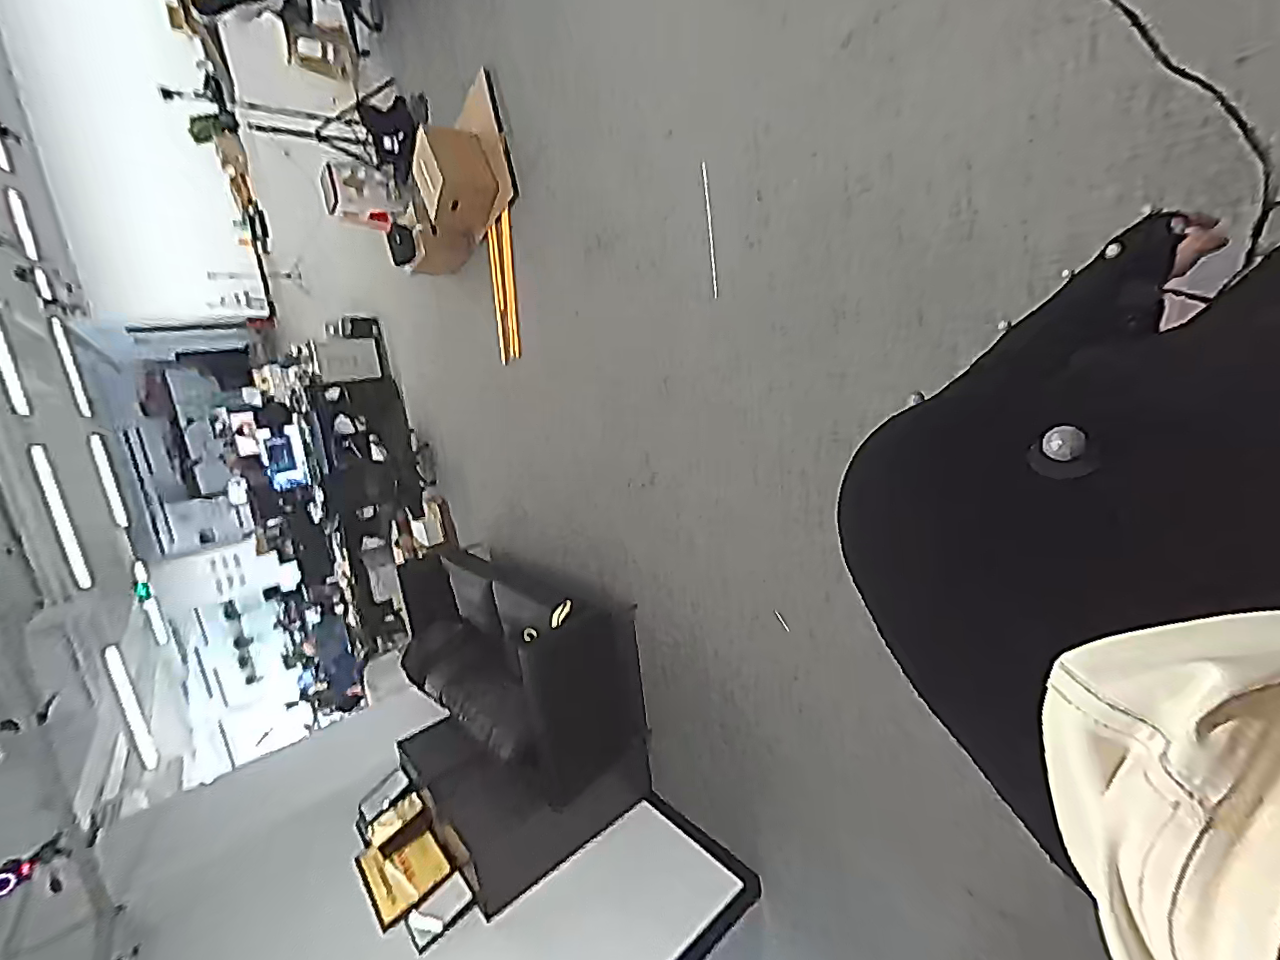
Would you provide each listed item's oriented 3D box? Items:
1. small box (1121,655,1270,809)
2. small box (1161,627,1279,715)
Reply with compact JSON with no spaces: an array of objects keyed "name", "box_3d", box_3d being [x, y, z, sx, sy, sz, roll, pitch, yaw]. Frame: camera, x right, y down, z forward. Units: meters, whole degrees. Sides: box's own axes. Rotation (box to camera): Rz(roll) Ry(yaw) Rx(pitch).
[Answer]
[{"name":"small box","box_3d":[1.084,0.480,1.056,0.168,0.176,0.179,18,118,47]},{"name":"small box","box_3d":[1.215,0.446,1.148,0.168,0.176,0.179,16,116,48]}]
